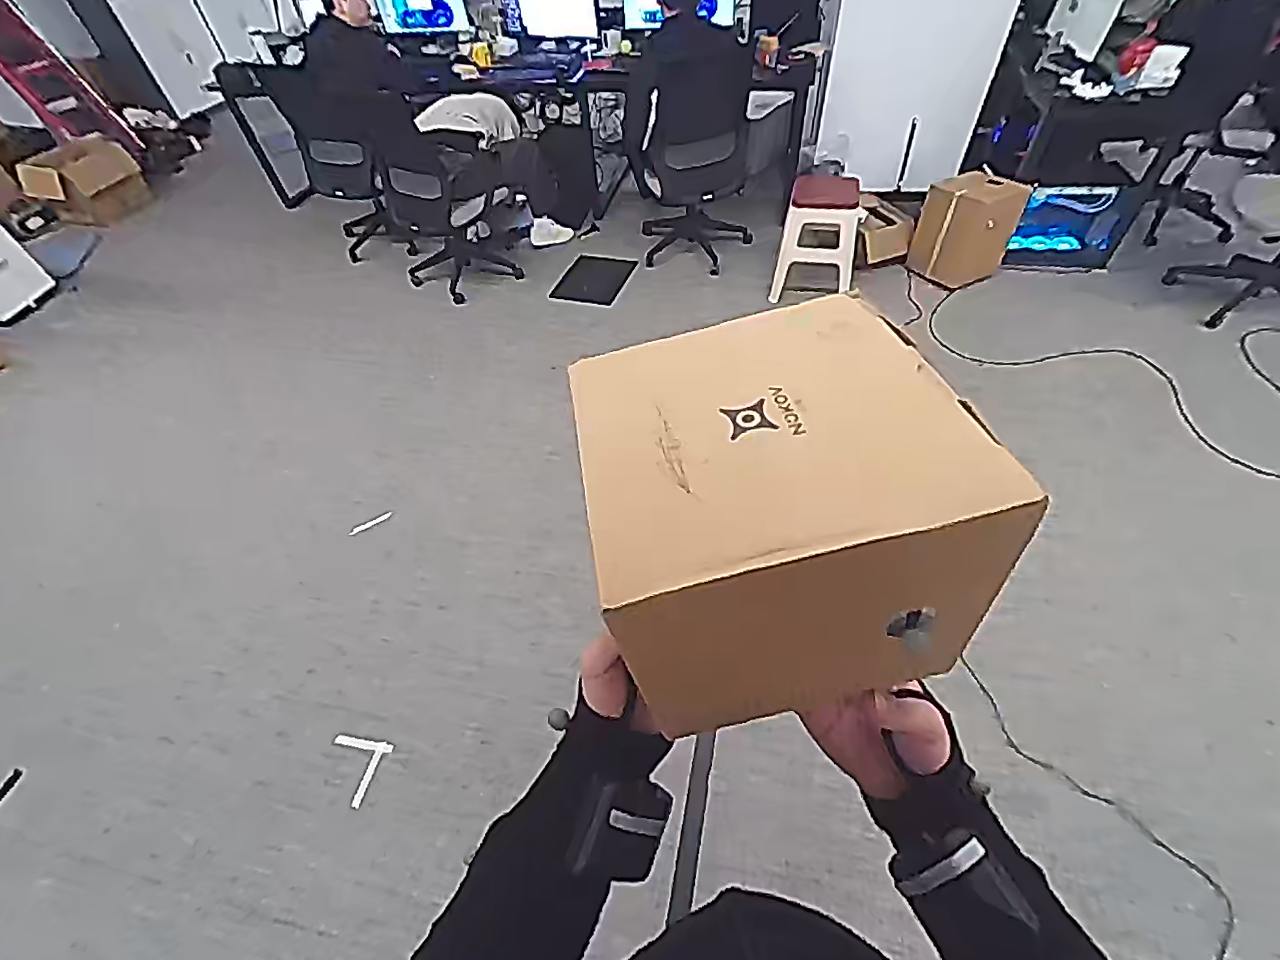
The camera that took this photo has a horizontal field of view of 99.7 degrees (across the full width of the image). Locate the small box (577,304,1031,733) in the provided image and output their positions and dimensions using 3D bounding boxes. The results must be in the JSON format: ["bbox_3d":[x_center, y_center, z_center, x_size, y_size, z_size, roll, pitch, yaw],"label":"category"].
[{"bbox_3d":[0.074,0.028,0.327,0.179,0.176,0.168,-16,47,1],"label":"small box"}]
